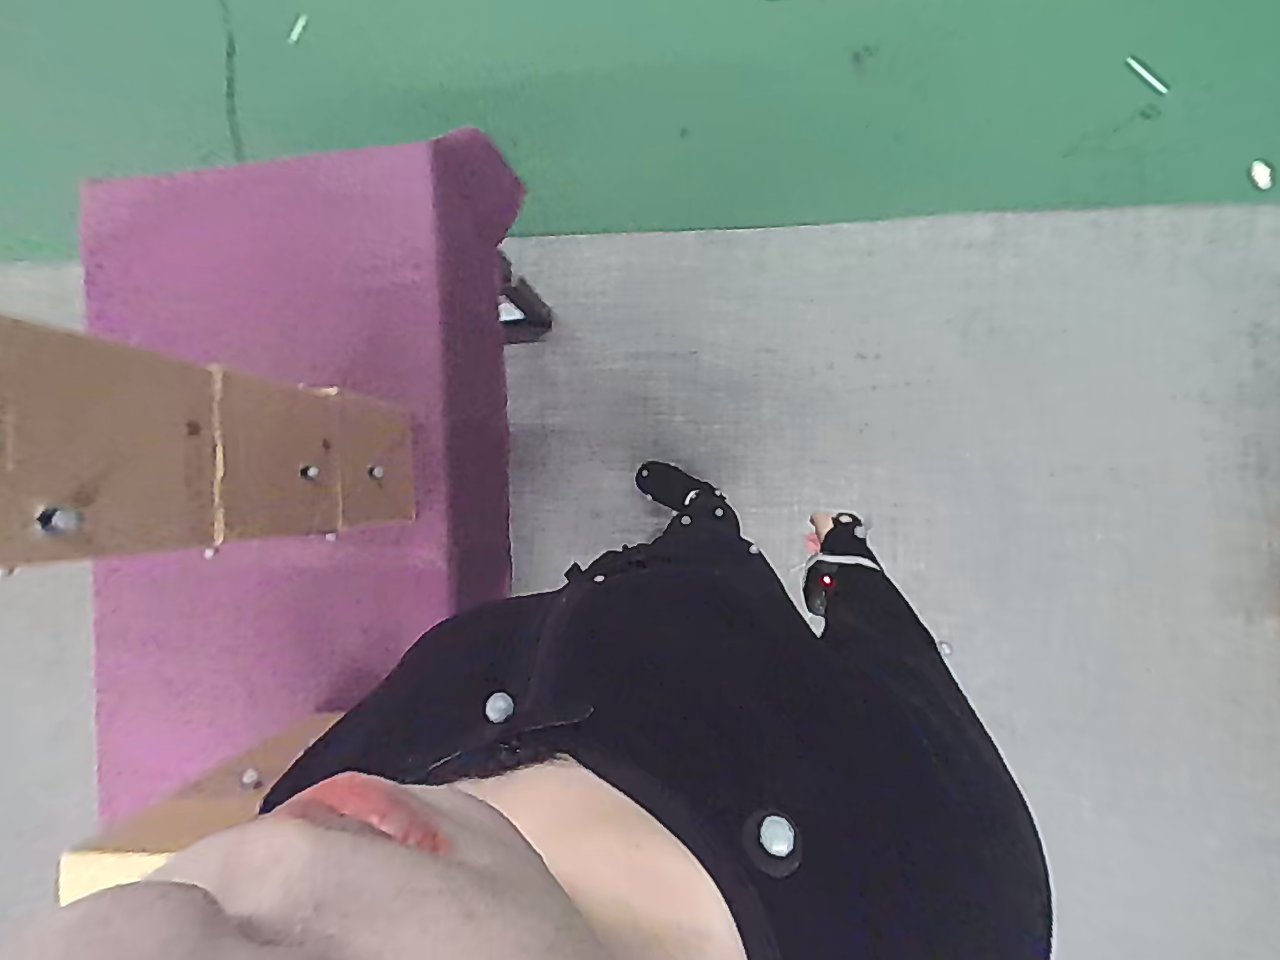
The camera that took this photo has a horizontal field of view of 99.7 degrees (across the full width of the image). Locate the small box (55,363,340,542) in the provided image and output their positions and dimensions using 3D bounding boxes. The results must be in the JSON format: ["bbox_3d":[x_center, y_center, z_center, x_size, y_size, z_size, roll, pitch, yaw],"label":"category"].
[{"bbox_3d":[-0.460,-0.020,0.584,0.179,0.176,0.168,-3,88,6],"label":"small box"}]

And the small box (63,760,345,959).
[{"bbox_3d":[-0.437,0.424,0.568,0.168,0.176,0.179,-4,87,6],"label":"small box"}]

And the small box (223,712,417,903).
[{"bbox_3d":[-0.419,0.427,0.732,0.179,0.176,0.168,-3,87,7],"label":"small box"}]

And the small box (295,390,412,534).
[{"bbox_3d":[-0.434,-0.020,0.746,0.168,0.176,0.179,-4,89,6],"label":"small box"}]
